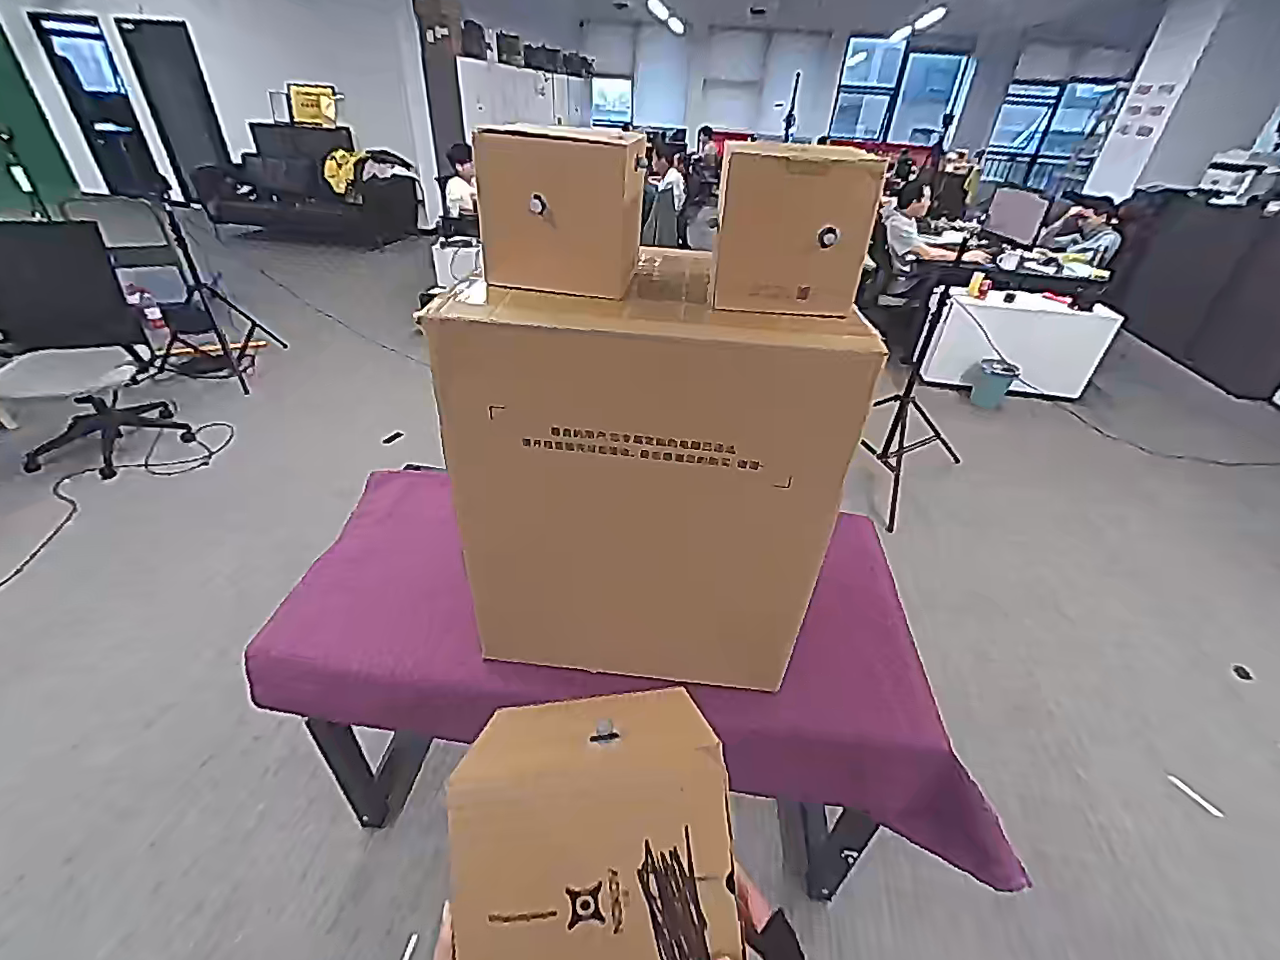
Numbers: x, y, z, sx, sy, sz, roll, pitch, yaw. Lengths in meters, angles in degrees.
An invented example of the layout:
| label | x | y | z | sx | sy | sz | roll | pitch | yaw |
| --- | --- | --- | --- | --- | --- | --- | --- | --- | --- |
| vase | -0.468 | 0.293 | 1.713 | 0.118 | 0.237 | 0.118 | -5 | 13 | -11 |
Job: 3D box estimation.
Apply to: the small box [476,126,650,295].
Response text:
| label | x | y | z | sx | sy | sz | roll | pitch | yaw |
| --- | --- | --- | --- | --- | --- | --- | --- | --- | --- |
| small box | -0.087 | -0.345 | 0.689 | 0.179 | 0.176 | 0.168 | 7 | 36 | 4 |

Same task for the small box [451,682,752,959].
| label | x | y | z | sx | sy | sz | roll | pitch | yaw |
| --- | --- | --- | --- | --- | --- | --- | --- | --- | --- |
| small box | -0.029 | 0.258 | 0.404 | 0.179 | 0.168 | 0.176 | -5 | -9 | -4 |

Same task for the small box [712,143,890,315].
| label | x | y | z | sx | sy | sz | roll | pitch | yaw |
| --- | --- | --- | --- | --- | --- | --- | --- | --- | --- |
| small box | 0.183 | -0.314 | 0.673 | 0.168 | 0.176 | 0.179 | 5 | 34 | 2 |
